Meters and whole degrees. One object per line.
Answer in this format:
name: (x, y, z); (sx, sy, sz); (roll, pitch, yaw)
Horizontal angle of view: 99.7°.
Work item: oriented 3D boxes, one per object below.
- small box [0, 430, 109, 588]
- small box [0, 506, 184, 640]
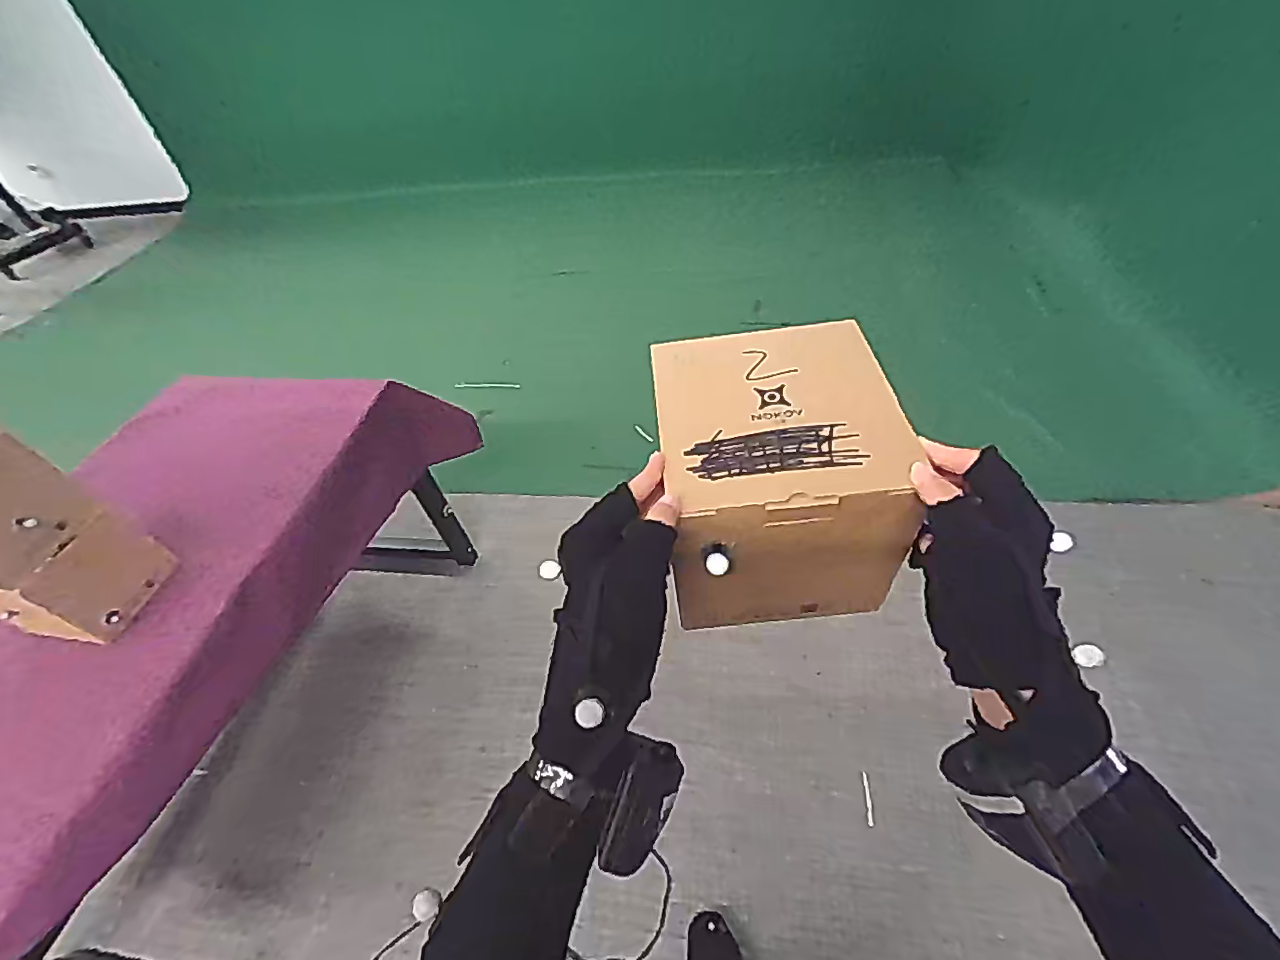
small box: (-0.960, 0.041, 0.783); (0.179, 0.176, 0.168); (4, 48, 11)
small box: (-0.934, 0.151, 0.902); (0.179, 0.176, 0.168); (3, 48, 12)
